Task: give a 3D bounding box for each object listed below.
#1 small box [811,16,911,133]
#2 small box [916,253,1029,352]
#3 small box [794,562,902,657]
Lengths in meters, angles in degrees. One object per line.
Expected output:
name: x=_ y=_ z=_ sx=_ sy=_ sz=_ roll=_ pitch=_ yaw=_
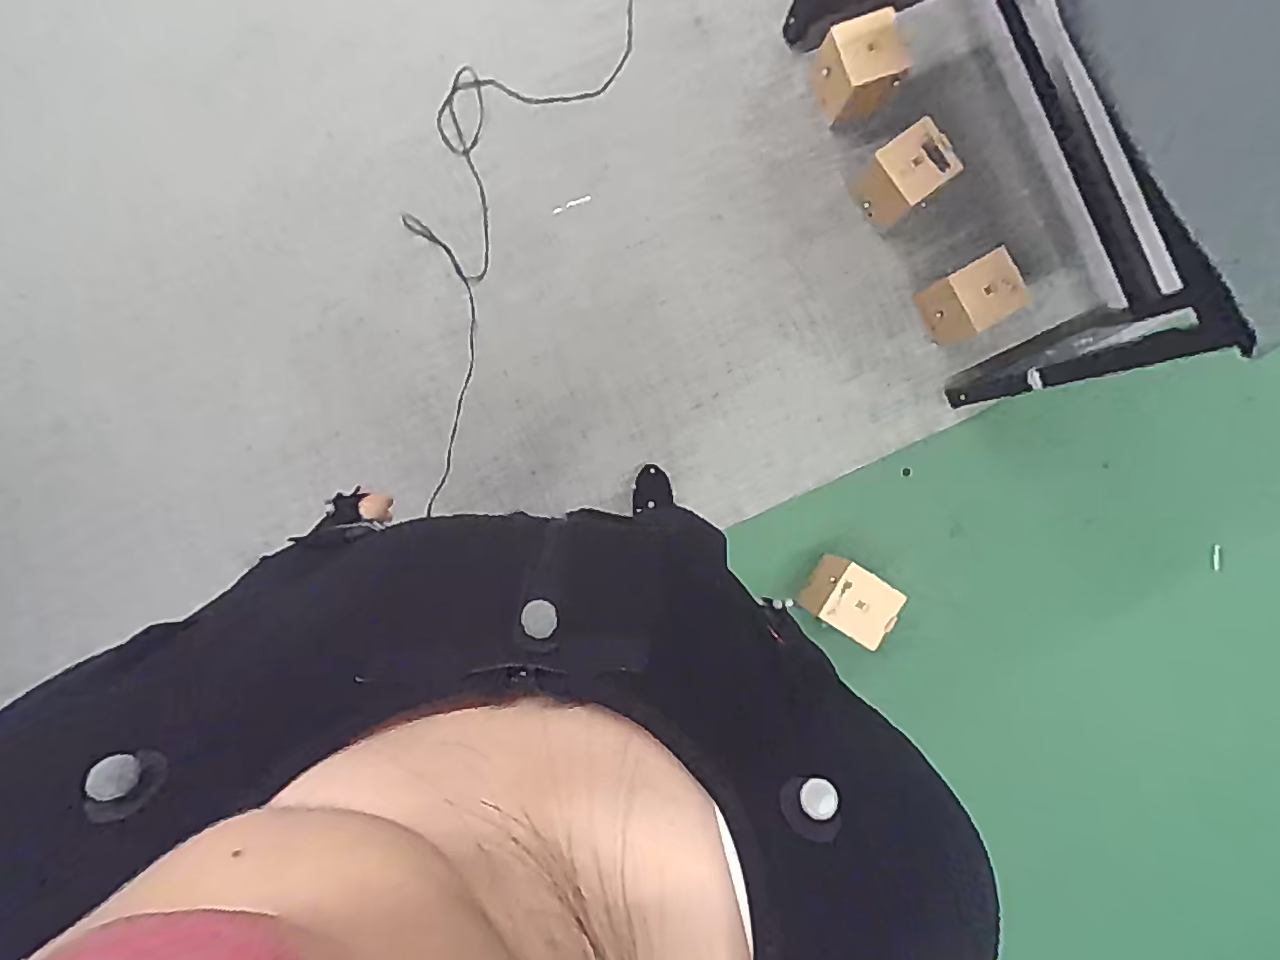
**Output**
small box: x=0.581 y=-1.079 z=1.454 sx=0.179 sy=0.176 sz=0.168 roll=-21 pitch=90 yaw=-4
small box: x=0.884 y=-0.470 z=1.462 sx=0.179 sy=0.176 sz=0.168 roll=-30 pitch=92 yaw=-3
small box: x=0.545 y=0.334 z=1.438 sx=0.179 sy=0.176 sz=0.168 roll=33 pitch=88 yaw=-3
